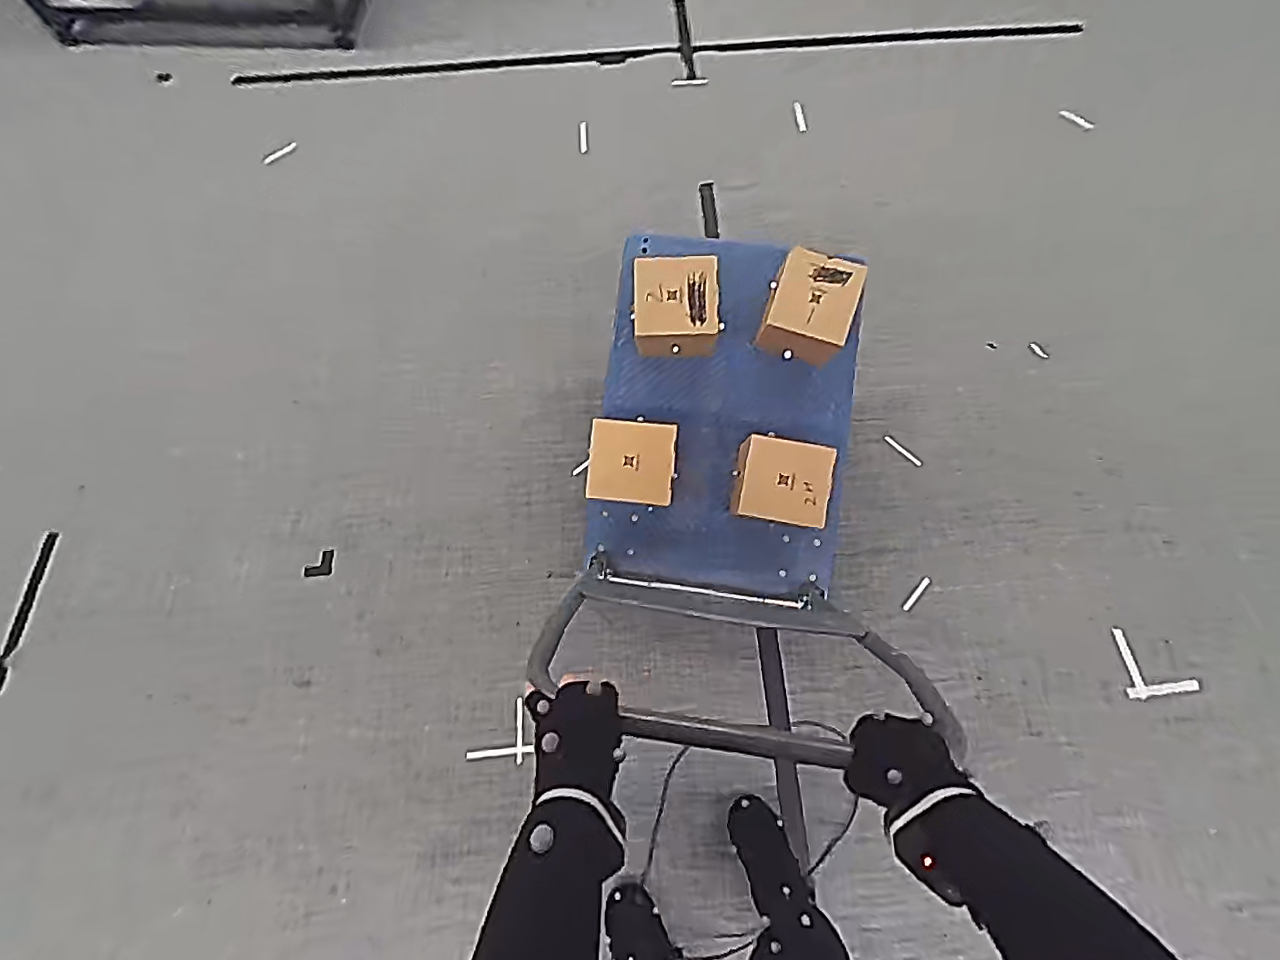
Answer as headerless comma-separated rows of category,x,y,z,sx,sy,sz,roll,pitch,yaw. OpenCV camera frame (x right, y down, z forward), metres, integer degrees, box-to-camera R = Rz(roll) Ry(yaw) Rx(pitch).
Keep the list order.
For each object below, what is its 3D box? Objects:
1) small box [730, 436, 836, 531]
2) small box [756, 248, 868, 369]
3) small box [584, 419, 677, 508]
small box,0.296,0.013,1.159,0.179,0.176,0.168,11,87,3
small box,0.366,-0.366,1.182,0.168,0.176,0.179,19,88,4
small box,-0.017,-0.029,1.176,0.179,0.176,0.168,5,86,1
